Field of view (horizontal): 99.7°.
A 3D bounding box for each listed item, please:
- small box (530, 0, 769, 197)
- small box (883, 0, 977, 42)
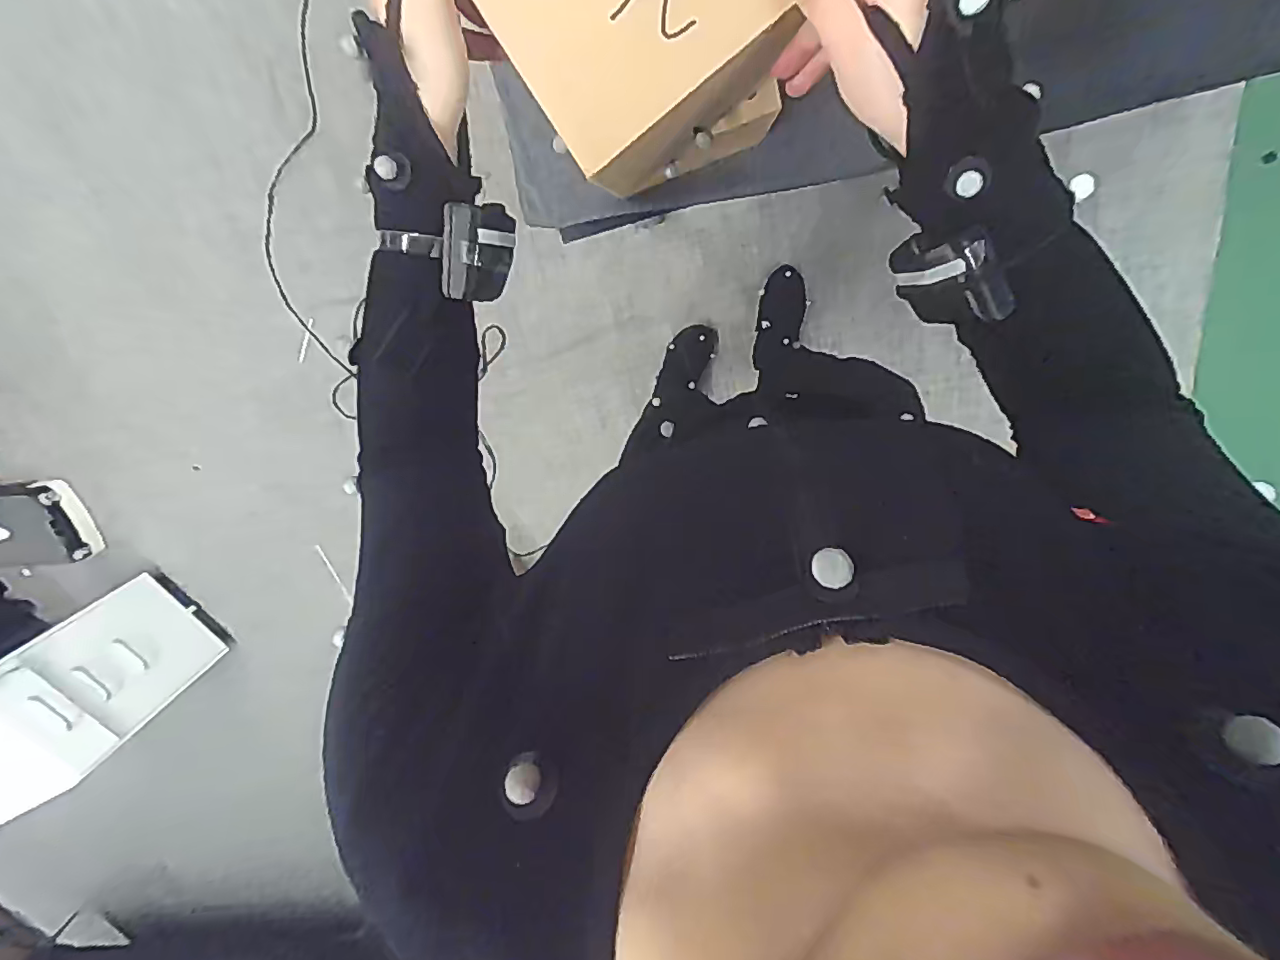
[{"bbox_3d":[0.012,-0.390,0.508,0.168,0.176,0.179,-15,111,13],"label":"small box"},{"bbox_3d":[0.282,-0.500,0.424,0.179,0.176,0.168,-27,109,17],"label":"small box"}]
